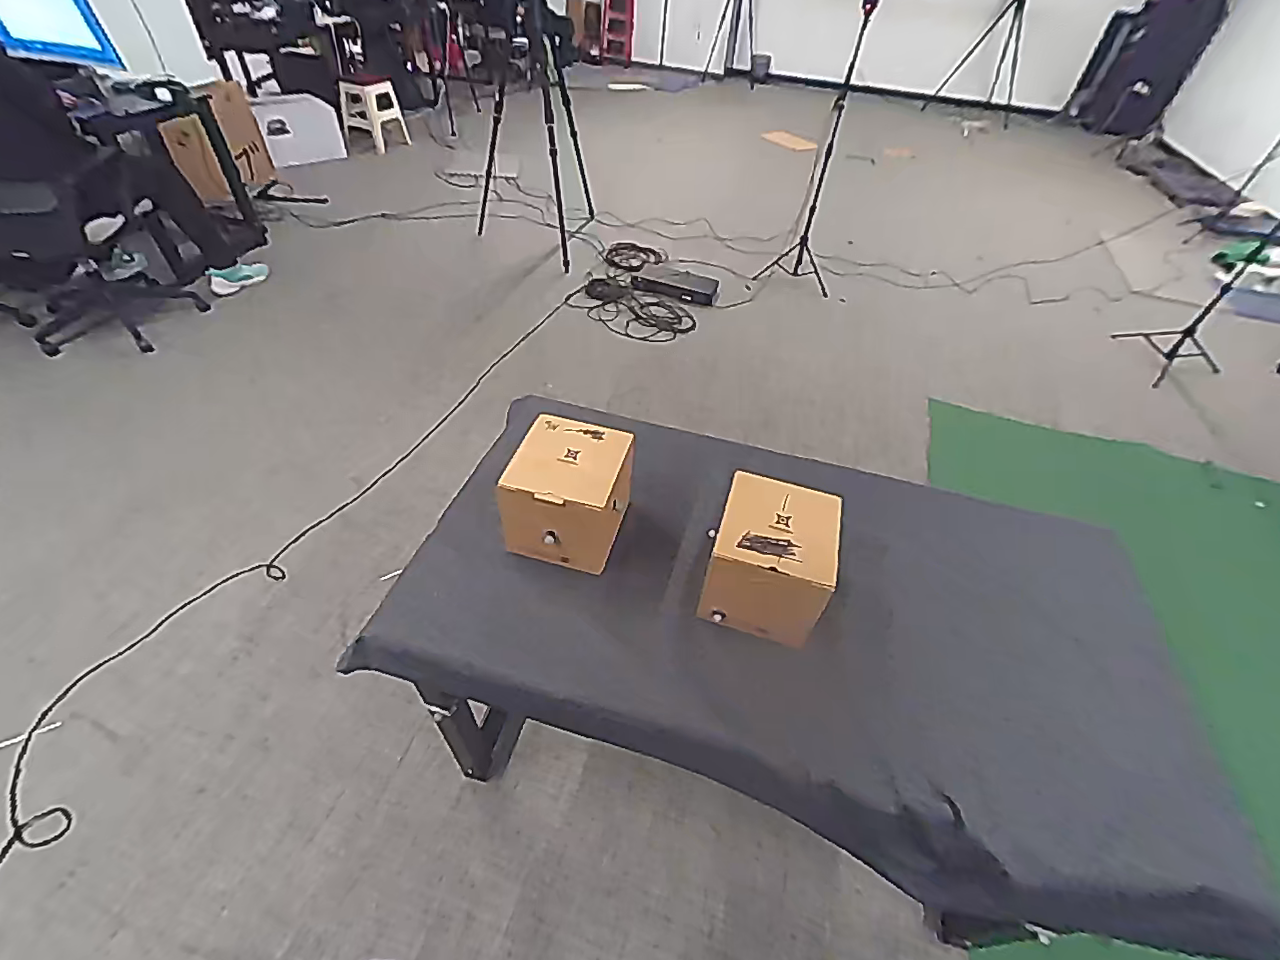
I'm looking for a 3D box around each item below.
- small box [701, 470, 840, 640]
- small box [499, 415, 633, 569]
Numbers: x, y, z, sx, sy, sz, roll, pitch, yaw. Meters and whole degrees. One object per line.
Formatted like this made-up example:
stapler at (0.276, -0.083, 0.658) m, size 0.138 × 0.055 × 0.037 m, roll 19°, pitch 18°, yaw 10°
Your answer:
small box at (0.197, 0.118, 0.836) m, size 0.168 × 0.176 × 0.179 m, roll 15°, pitch 46°, yaw 10°
small box at (-0.113, 0.022, 0.904) m, size 0.168 × 0.176 × 0.179 m, roll 13°, pitch 47°, yaw 8°
